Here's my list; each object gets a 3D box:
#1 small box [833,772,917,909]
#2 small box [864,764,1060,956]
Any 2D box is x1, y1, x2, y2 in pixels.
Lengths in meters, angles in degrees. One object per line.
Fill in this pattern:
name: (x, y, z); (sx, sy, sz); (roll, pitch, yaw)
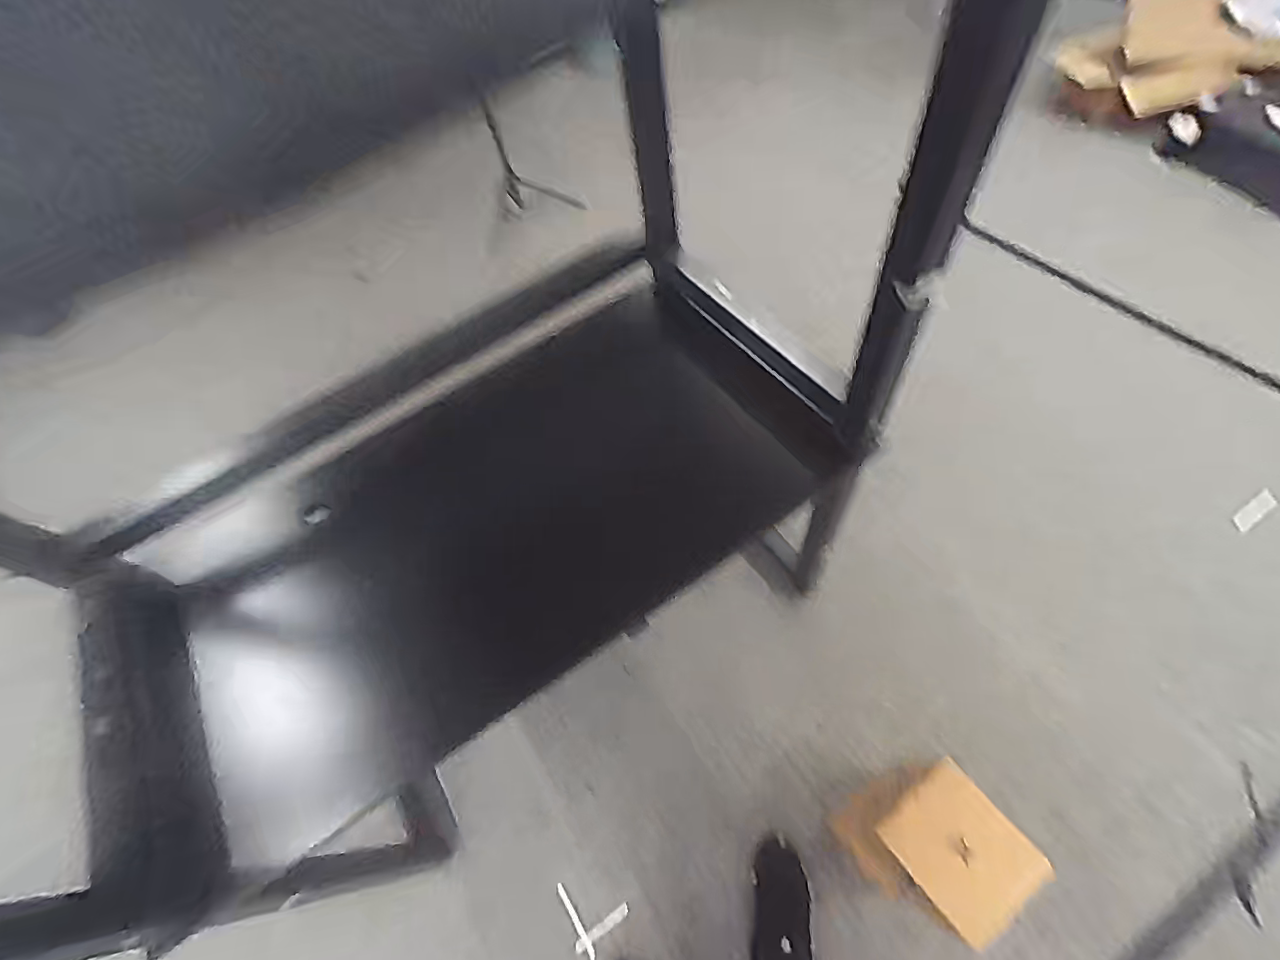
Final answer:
small box: (0.529, 0.740, 1.129); (0.179, 0.176, 0.168); (-35, 60, -11)
small box: (0.487, 0.577, 0.849); (0.168, 0.176, 0.179); (-36, 60, -12)
